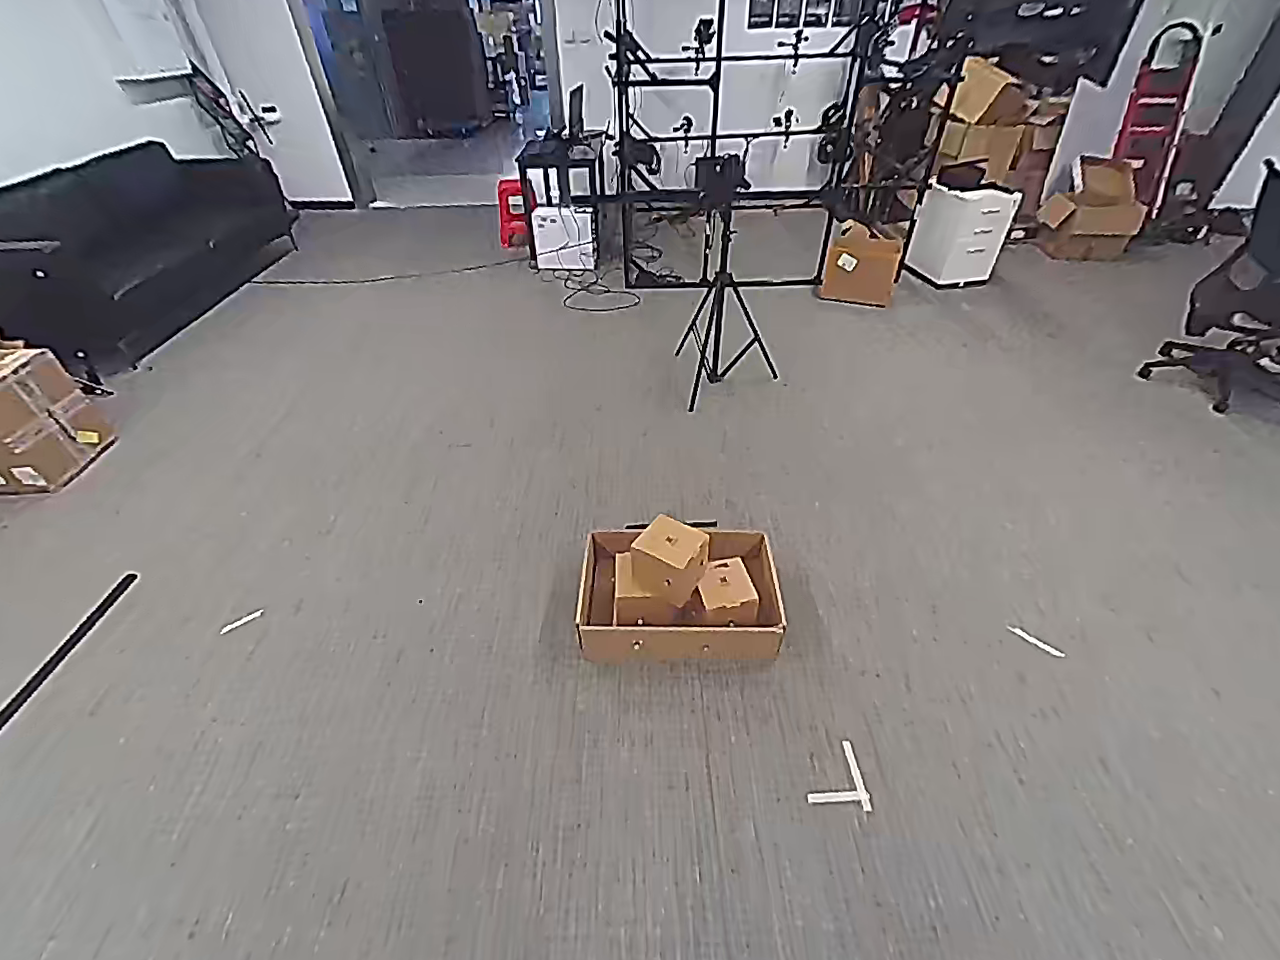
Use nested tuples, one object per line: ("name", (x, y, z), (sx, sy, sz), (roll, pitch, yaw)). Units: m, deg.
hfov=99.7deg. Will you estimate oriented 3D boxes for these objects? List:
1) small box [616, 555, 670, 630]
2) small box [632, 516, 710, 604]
("small box", (0.008, 0.359, 1.729), (0.168, 0.176, 0.179), (-1, 40, -1))
("small box", (0.092, 0.243, 1.614), (0.179, 0.176, 0.168), (21, 43, 26))
